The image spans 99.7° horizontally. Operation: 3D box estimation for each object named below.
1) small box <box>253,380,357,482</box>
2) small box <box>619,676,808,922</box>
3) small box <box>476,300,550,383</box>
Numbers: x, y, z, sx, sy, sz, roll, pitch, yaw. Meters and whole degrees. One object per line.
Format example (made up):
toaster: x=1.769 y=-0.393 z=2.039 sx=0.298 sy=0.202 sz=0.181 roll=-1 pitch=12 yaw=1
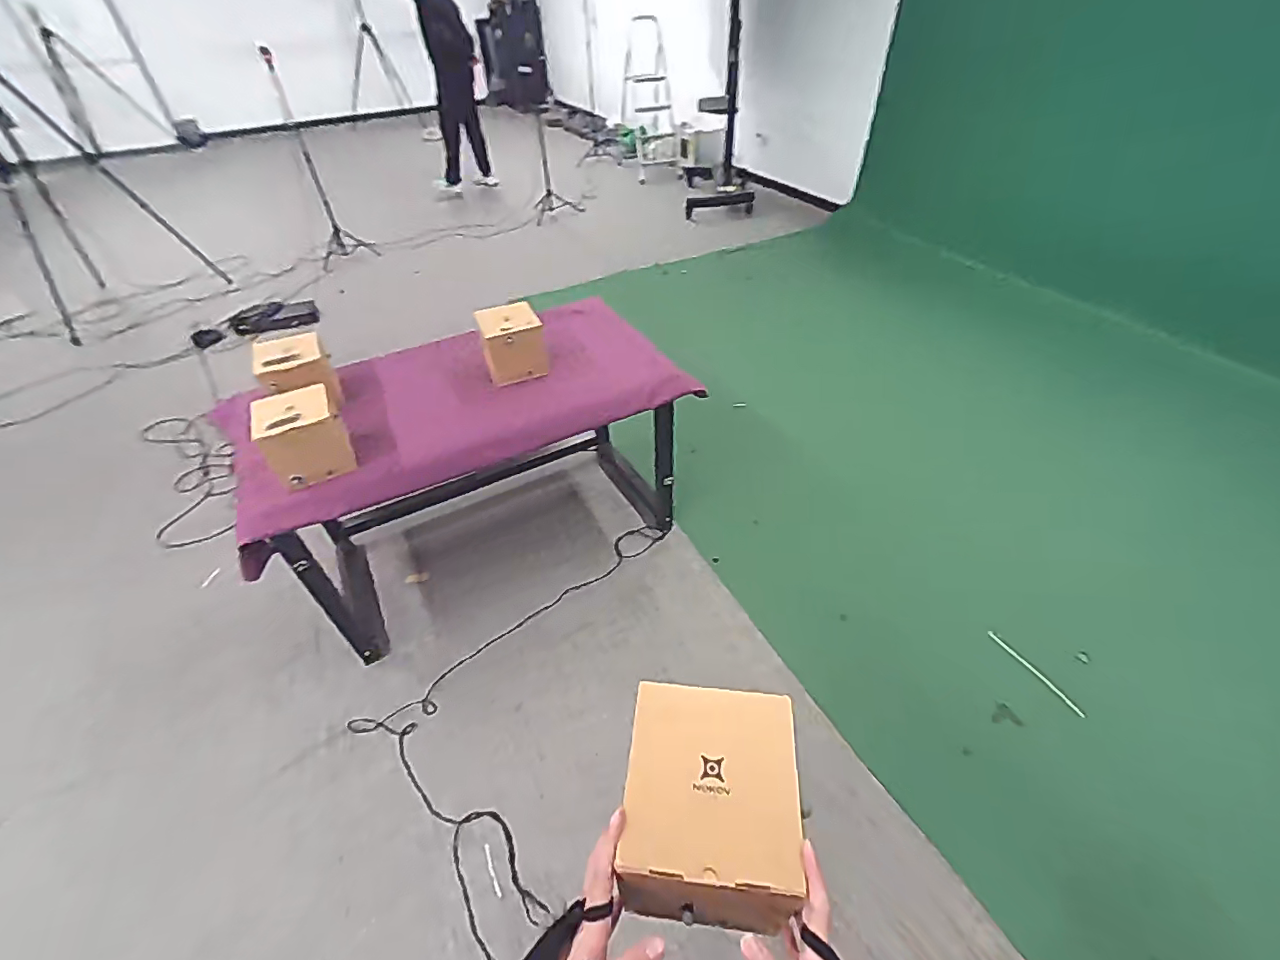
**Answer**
small box: x=-0.822 y=-0.115 z=1.335 sx=0.168 sy=0.176 sz=0.179 roll=-21 pitch=46 yaw=-20
small box: x=0.071 y=0.337 z=0.577 sx=0.168 sy=0.176 sz=0.179 roll=4 pitch=43 yaw=5
small box: x=-0.383 y=-0.420 z=1.641 sx=0.168 sy=0.176 sz=0.179 roll=-19 pitch=46 yaw=-16
